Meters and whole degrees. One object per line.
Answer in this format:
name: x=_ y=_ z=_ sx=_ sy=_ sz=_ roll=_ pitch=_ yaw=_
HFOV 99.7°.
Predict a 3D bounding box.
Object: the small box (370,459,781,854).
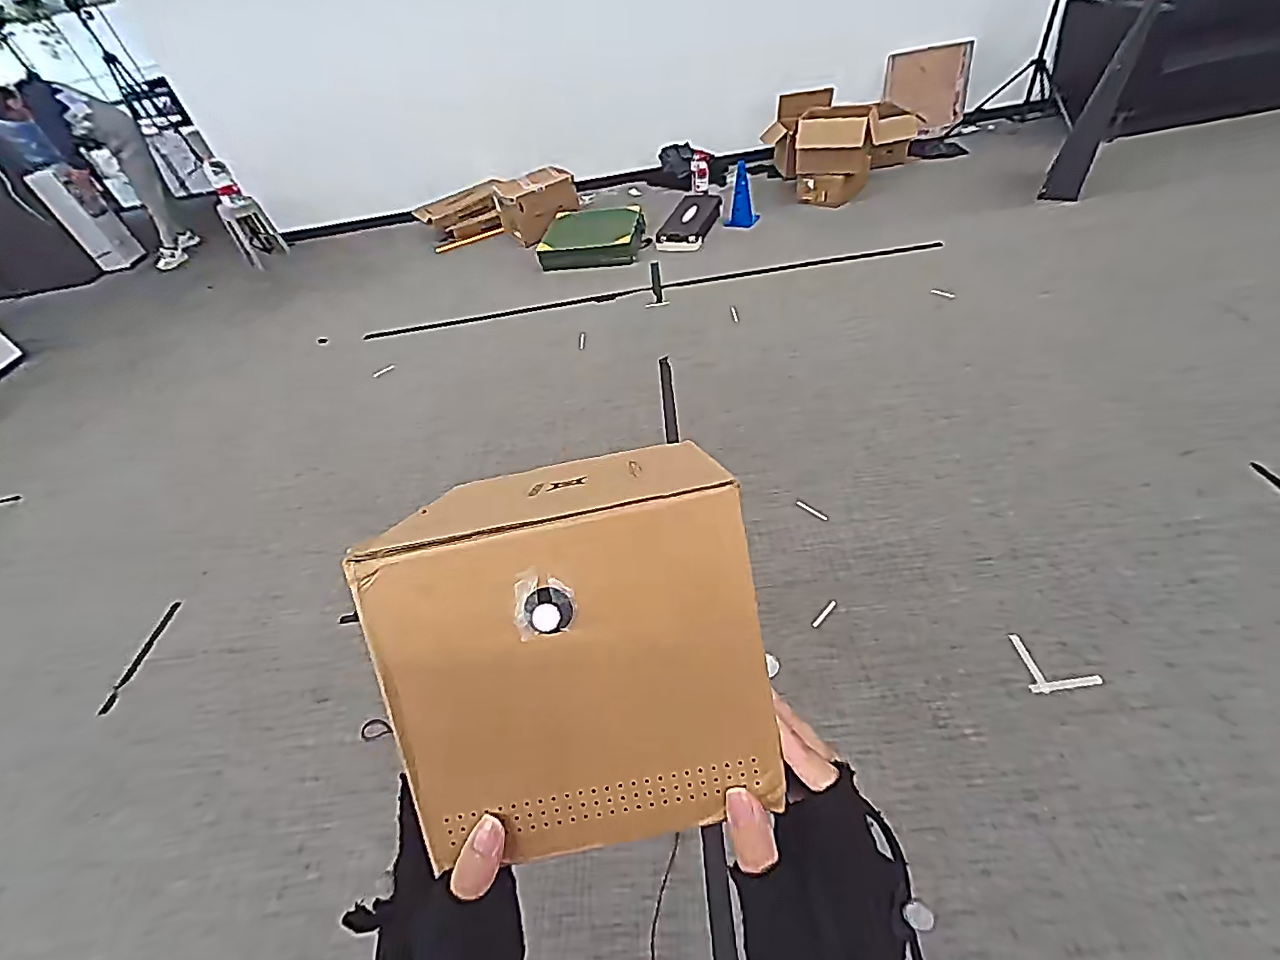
small box: x=-0.027 y=0.093 z=0.339 sx=0.179 sy=0.176 sz=0.168 roll=-11 pitch=10 yaw=1
